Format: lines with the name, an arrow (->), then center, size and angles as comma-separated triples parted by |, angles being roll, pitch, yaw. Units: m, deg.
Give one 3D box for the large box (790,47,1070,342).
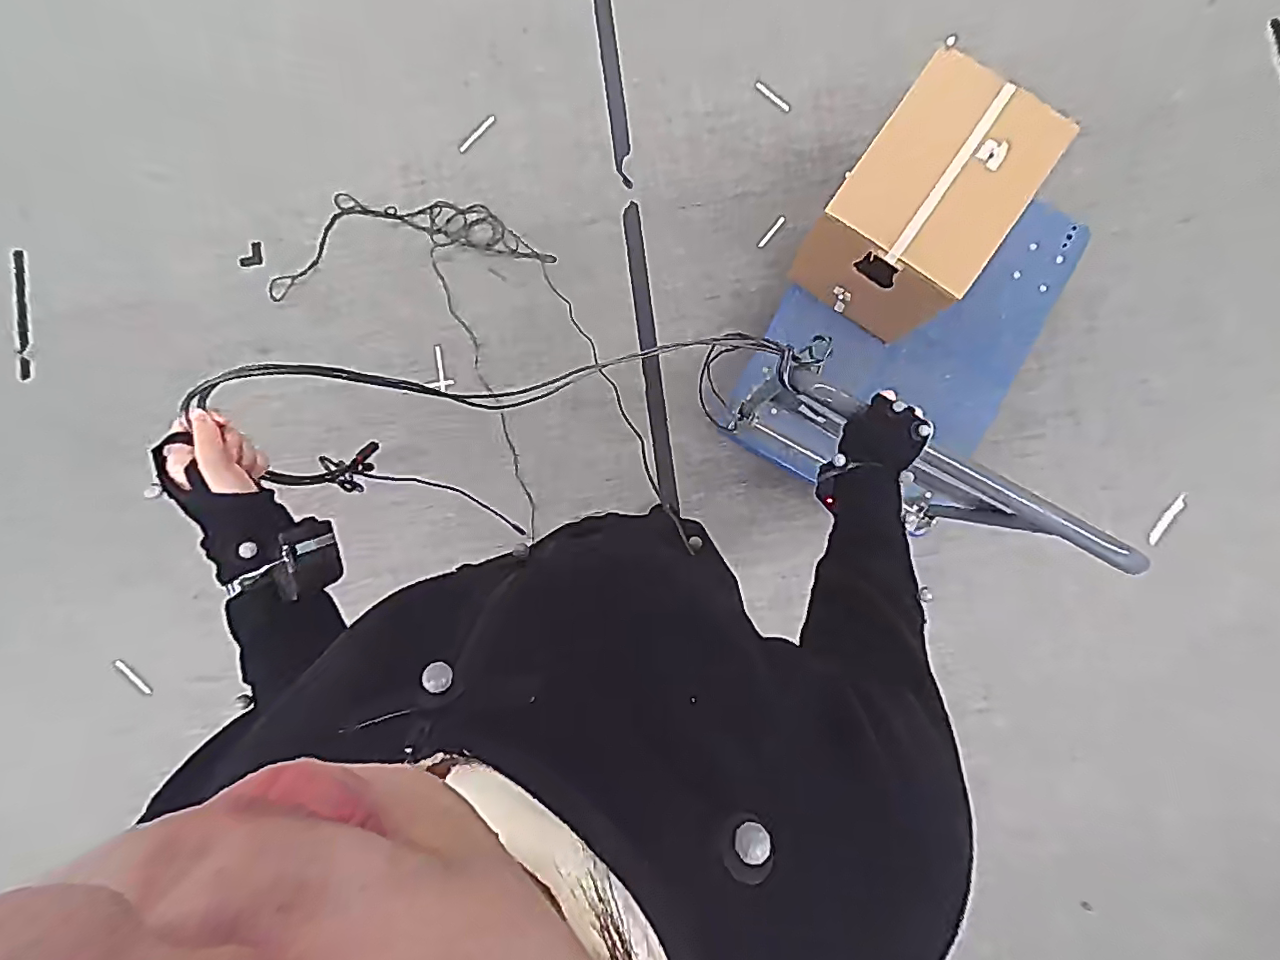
large box -> 0.590, -0.583, 1.181 | 0.320, 0.320, 0.408 | 35, 89, 2
